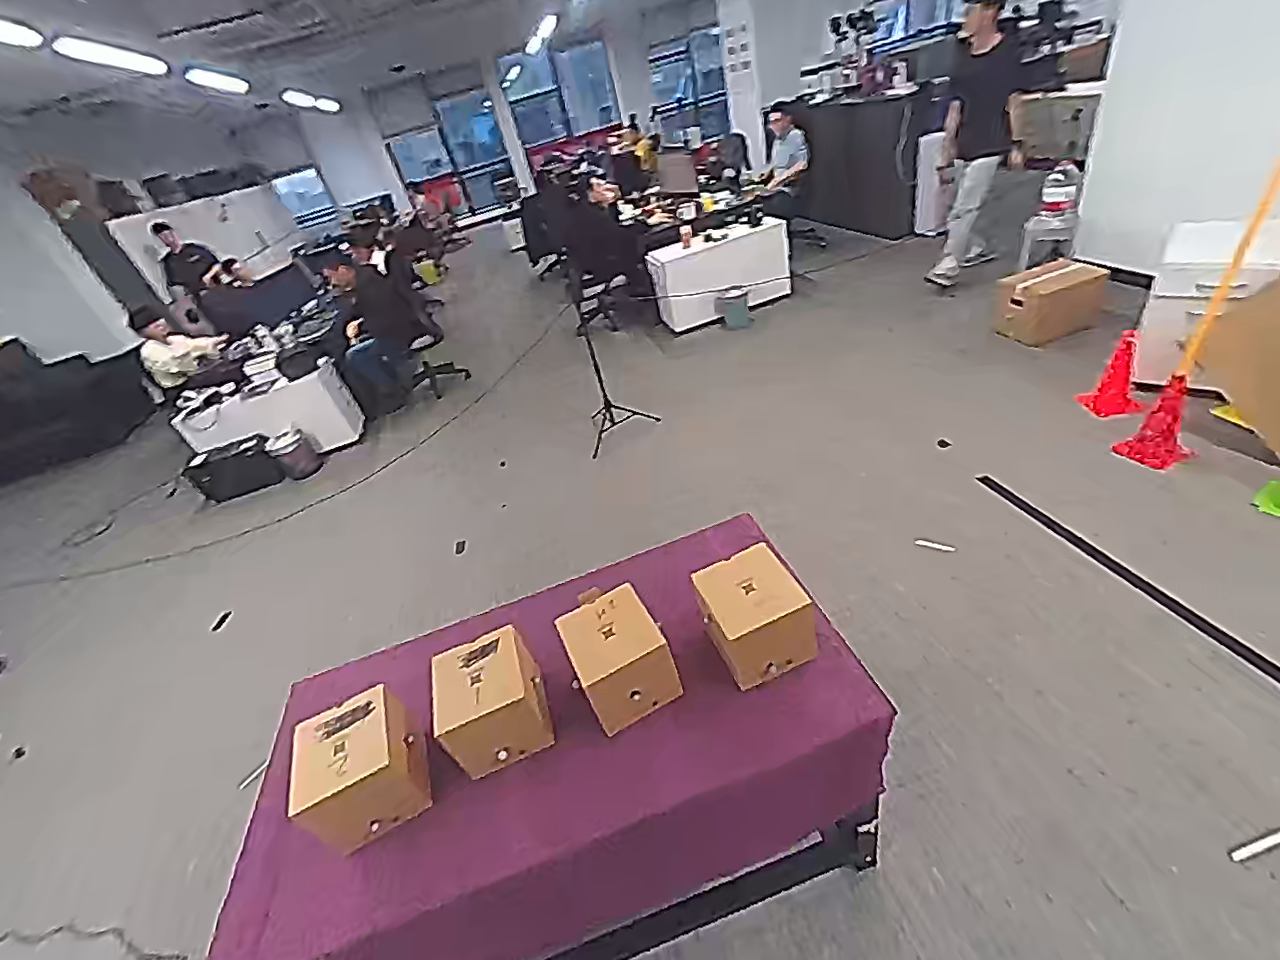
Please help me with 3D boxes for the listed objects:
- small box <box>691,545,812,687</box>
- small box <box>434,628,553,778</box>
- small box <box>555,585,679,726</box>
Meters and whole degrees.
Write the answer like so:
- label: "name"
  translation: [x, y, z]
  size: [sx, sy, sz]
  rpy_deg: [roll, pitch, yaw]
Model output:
- label: "small box"
  translation: [0.218, 0.265, 1.059]
  size: [0.168, 0.176, 0.179]
  rpy_deg: [-23, 35, -7]
- label: "small box"
  translation: [-0.282, 0.429, 1.045]
  size: [0.168, 0.176, 0.179]
  rpy_deg: [-23, 36, -8]
- label: "small box"
  translation: [-0.042, 0.347, 1.055]
  size: [0.168, 0.176, 0.179]
  rpy_deg: [-25, 36, -12]
